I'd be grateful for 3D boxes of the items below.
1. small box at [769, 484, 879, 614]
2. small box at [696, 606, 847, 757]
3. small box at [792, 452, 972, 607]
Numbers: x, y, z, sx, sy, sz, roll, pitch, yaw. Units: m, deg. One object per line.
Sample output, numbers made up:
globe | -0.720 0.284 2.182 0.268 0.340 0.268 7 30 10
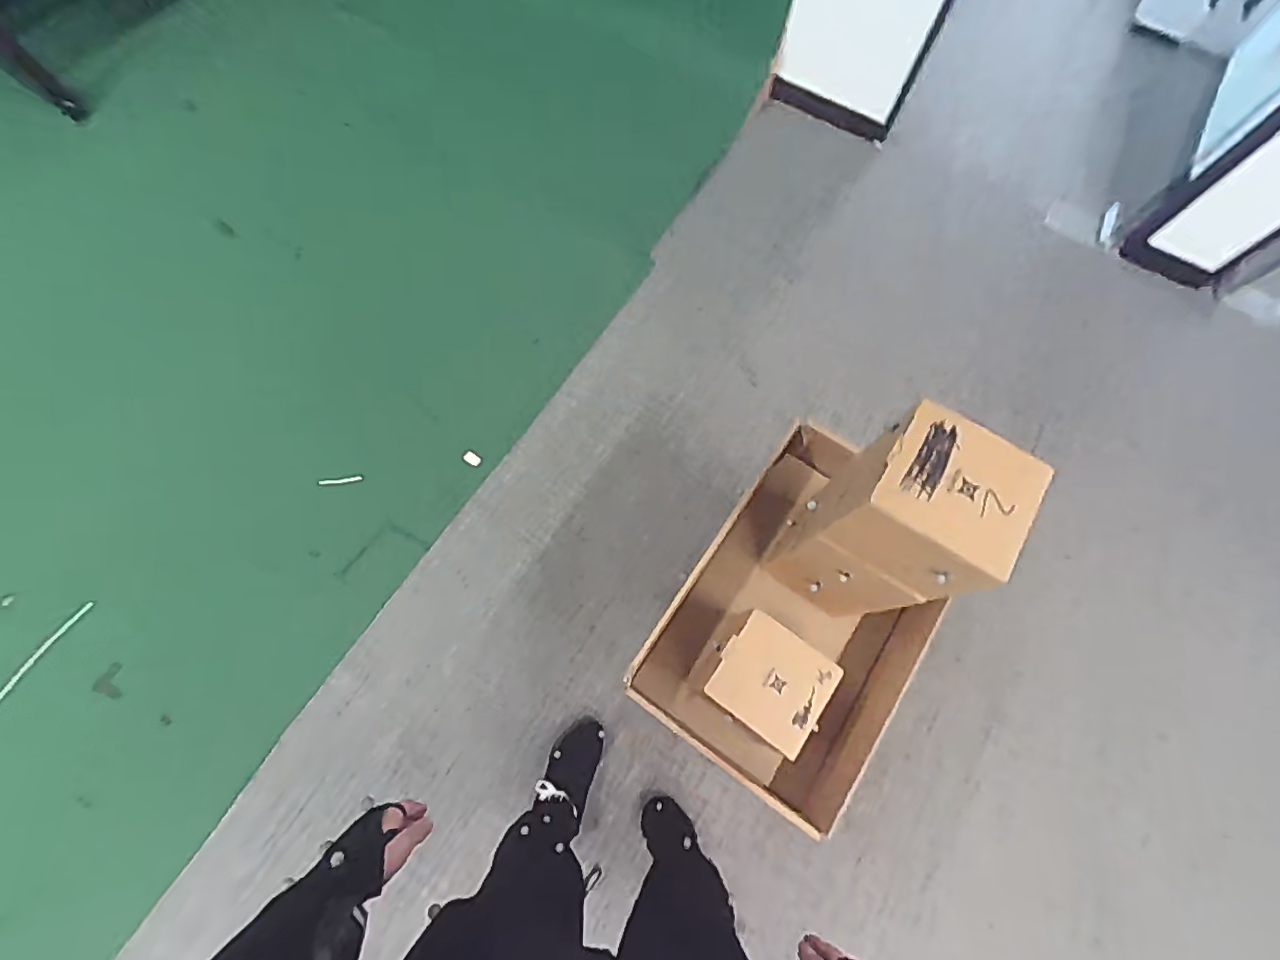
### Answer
small box | 0.372 0.137 1.020 0.179 0.176 0.168 34 74 10
small box | 0.216 0.346 0.940 0.179 0.176 0.168 36 73 10
small box | 0.373 0.088 0.863 0.179 0.176 0.168 32 73 10
